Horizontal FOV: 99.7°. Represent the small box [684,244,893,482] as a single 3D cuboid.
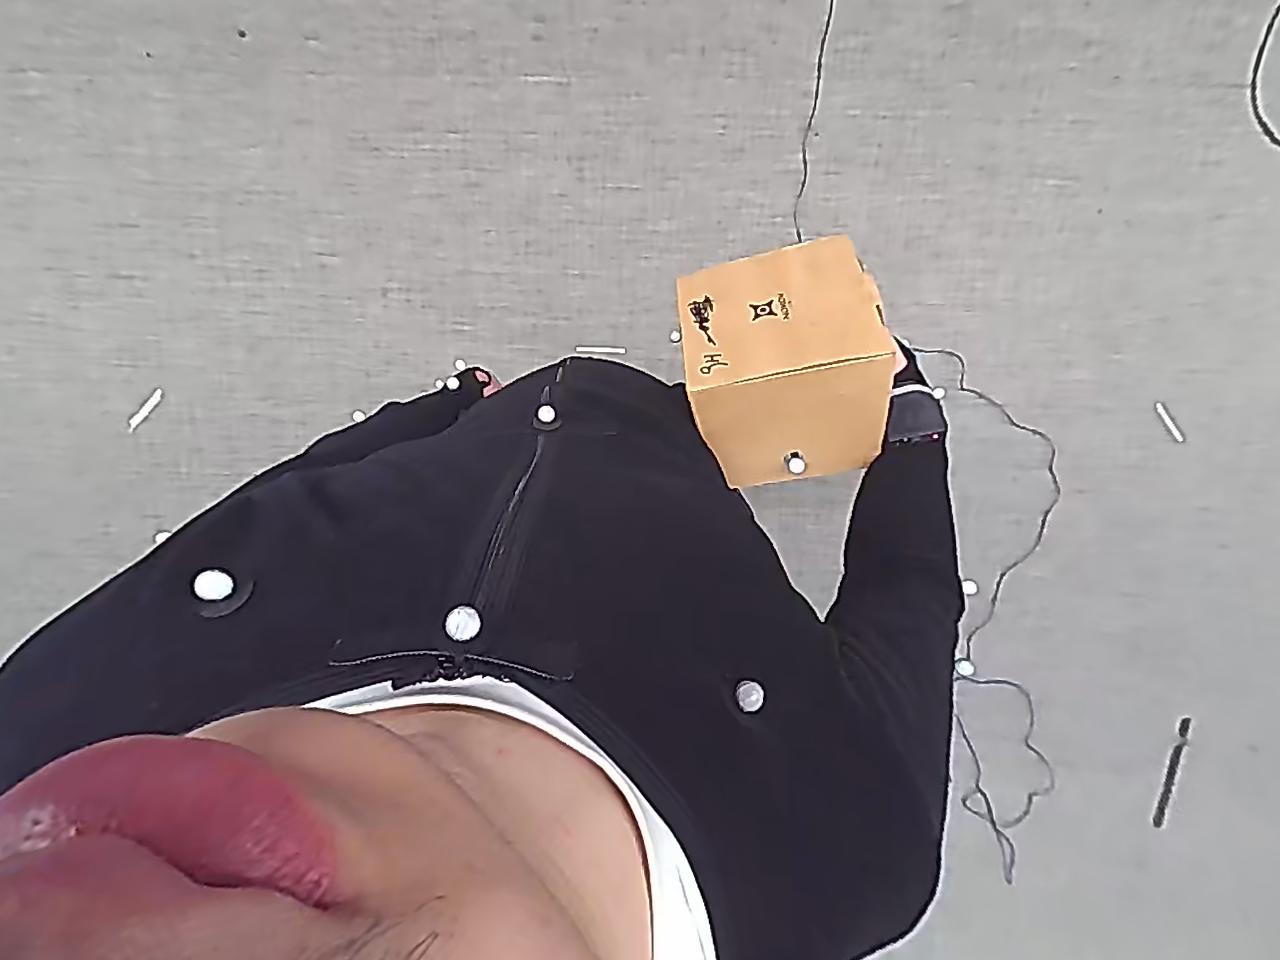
[{"bbox_3d":[0.151,-0.117,0.584,0.179,0.168,0.176,-9,145,12],"label":"small box"}]
